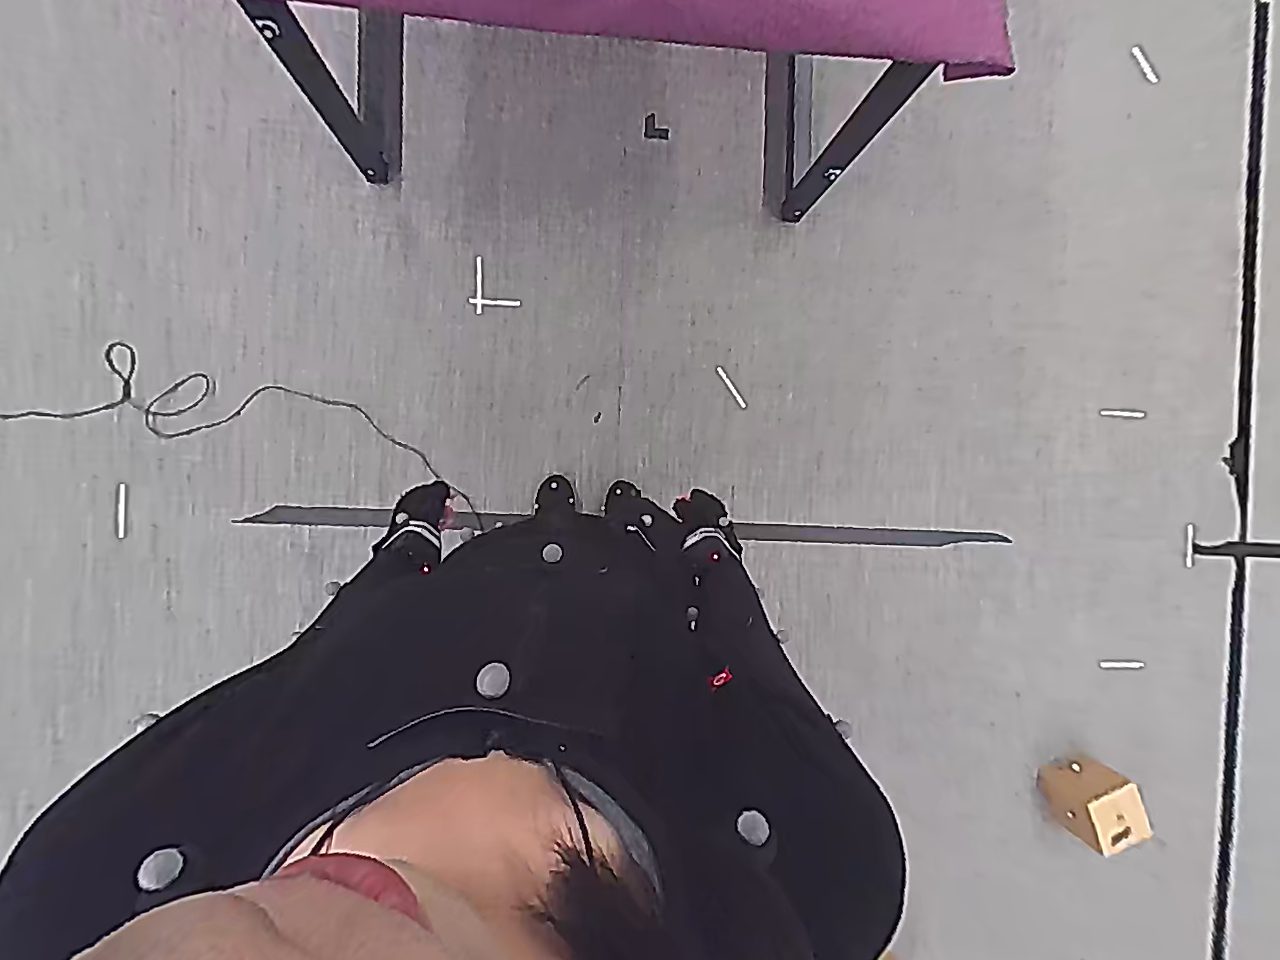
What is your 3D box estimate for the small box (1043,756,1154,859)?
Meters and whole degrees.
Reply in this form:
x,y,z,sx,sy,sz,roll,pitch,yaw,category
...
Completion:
x,y,z,sx,sy,sz,roll,pitch,yaw,category
1.372,0.977,1.627,0.168,0.176,0.179,-21,93,-6,small box
